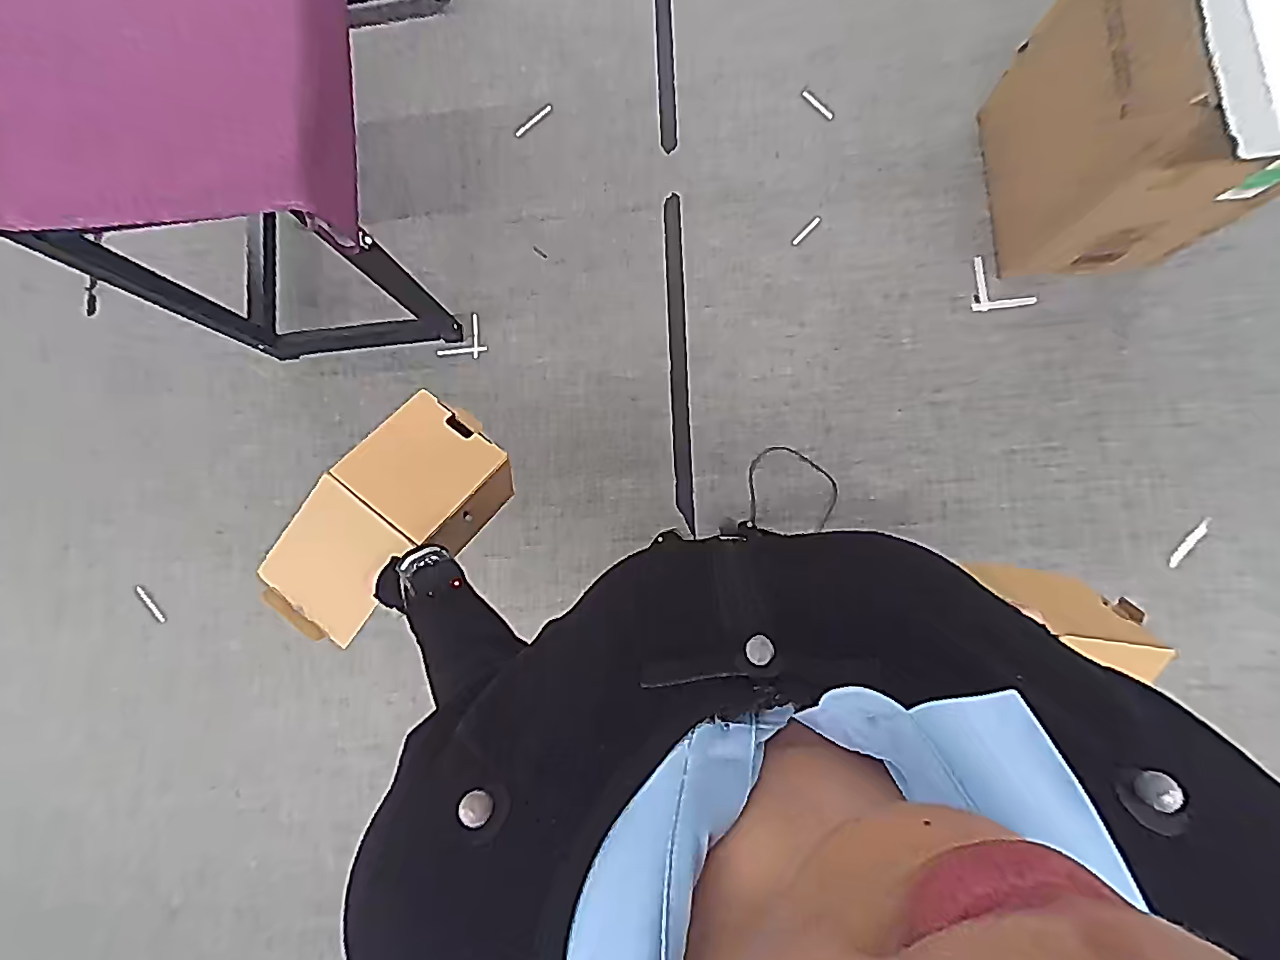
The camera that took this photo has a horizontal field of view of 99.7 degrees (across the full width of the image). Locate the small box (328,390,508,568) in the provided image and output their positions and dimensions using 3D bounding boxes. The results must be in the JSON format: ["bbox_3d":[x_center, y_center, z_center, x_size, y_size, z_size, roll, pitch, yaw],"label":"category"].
[{"bbox_3d":[-0.311,0.008,0.806,0.168,0.176,0.179,38,67,5],"label":"small box"}]
